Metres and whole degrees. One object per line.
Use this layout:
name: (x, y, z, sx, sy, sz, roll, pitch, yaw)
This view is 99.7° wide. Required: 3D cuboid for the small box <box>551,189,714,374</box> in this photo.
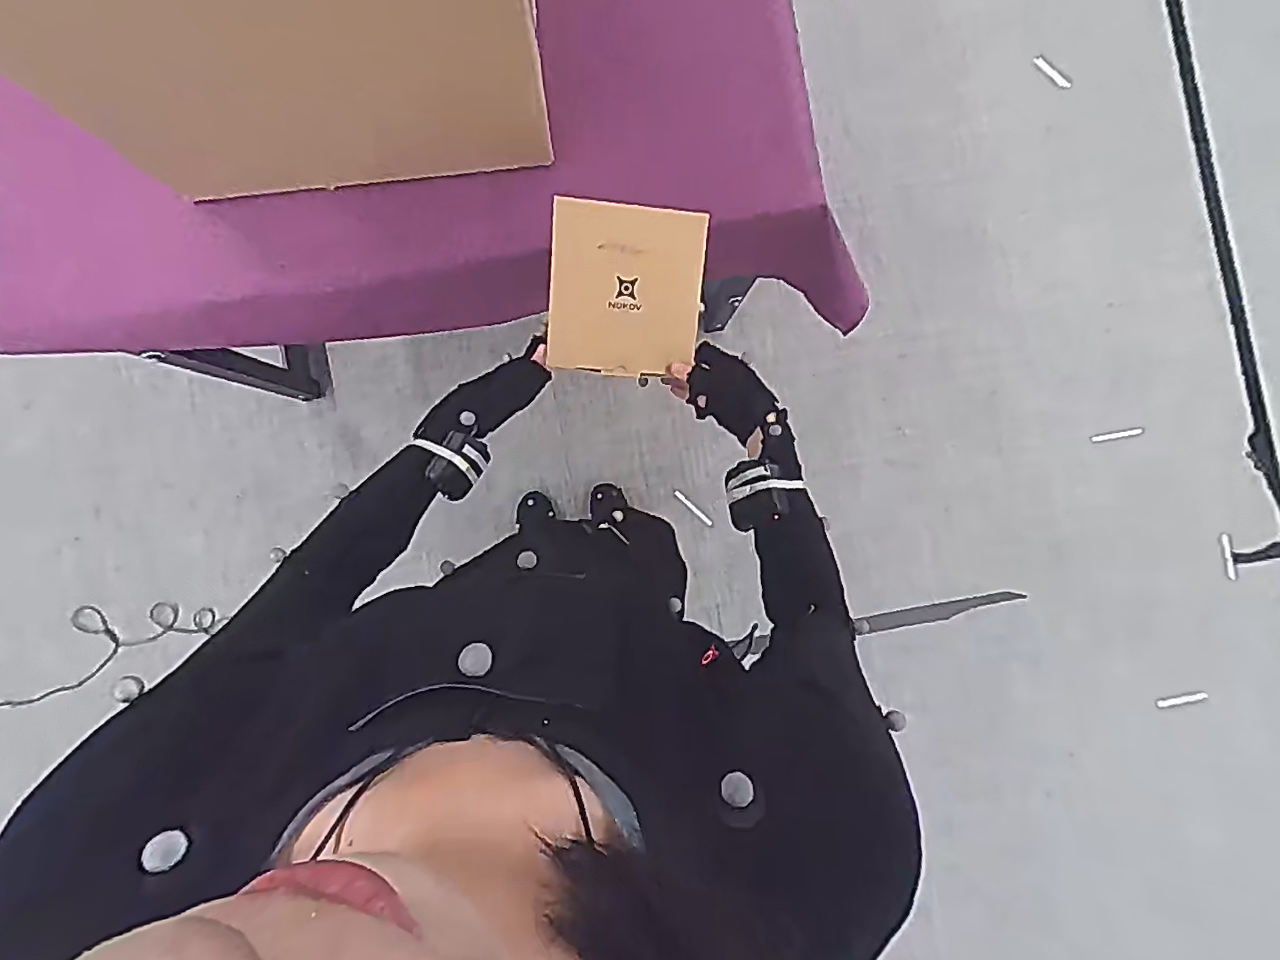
small box: (-0.018, -0.226, 0.657, 0.168, 0.176, 0.179, 3, 102, -8)
